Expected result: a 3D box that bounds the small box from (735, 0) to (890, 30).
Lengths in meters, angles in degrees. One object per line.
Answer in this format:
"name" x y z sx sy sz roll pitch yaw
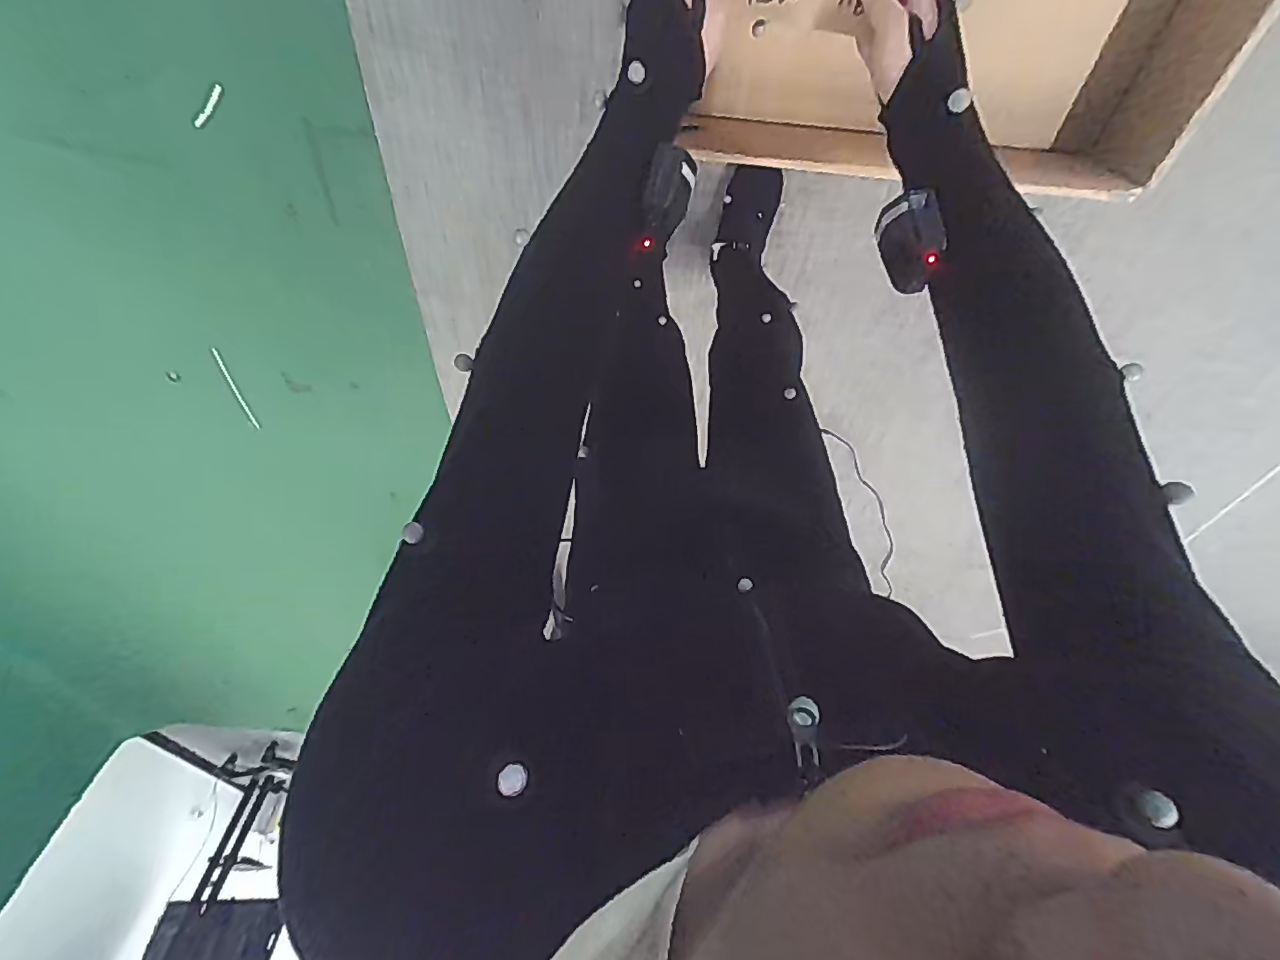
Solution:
"small box" 0.147 -0.521 0.458 0.168 0.176 0.179 9 138 -2
